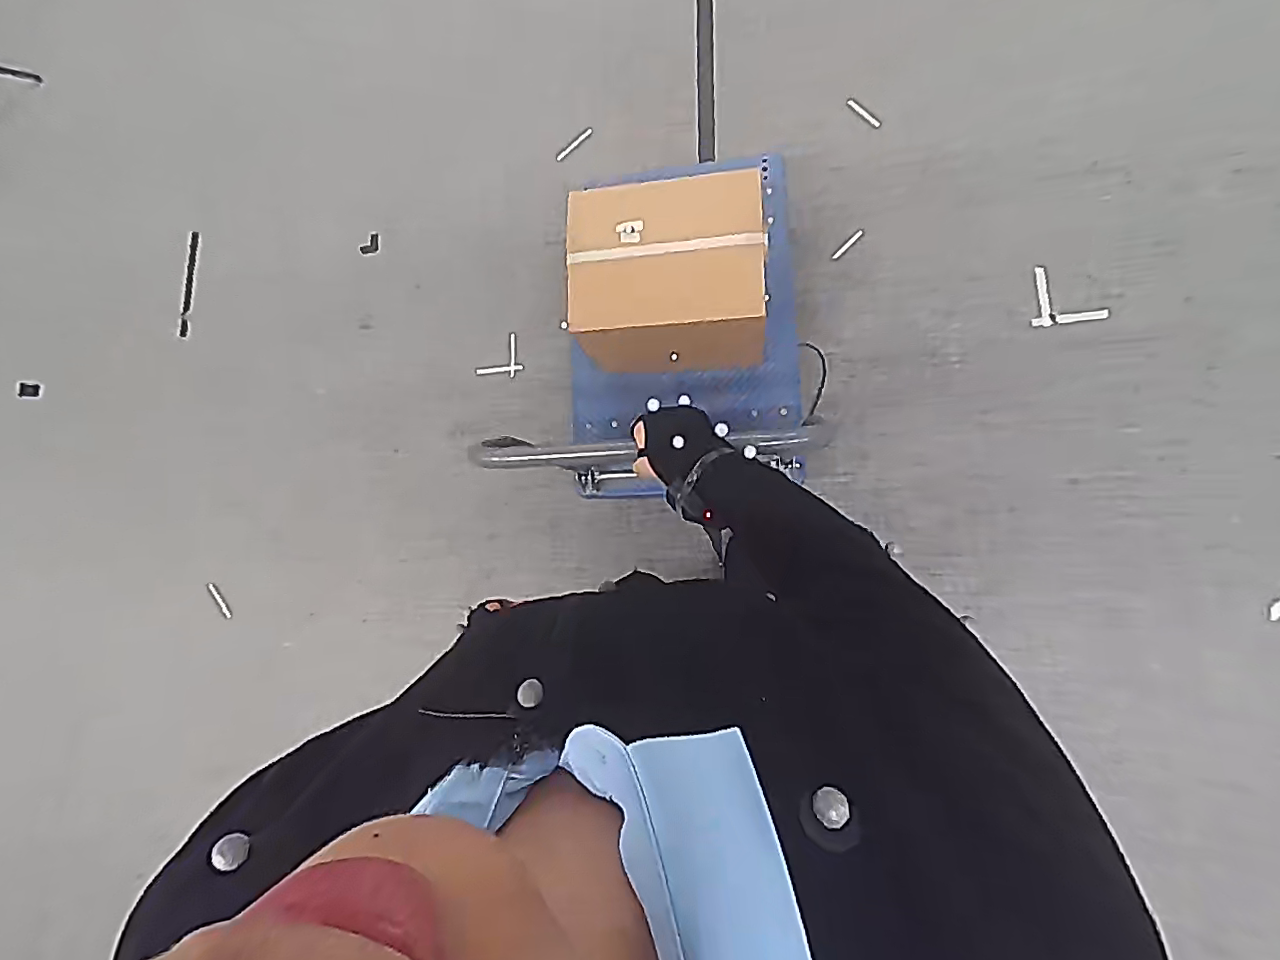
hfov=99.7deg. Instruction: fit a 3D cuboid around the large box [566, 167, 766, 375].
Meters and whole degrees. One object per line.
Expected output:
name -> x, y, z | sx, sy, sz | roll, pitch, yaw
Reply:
large box -> 0.072, -0.444, 1.232 | 0.408, 0.320, 0.320 | -2, 82, 12
